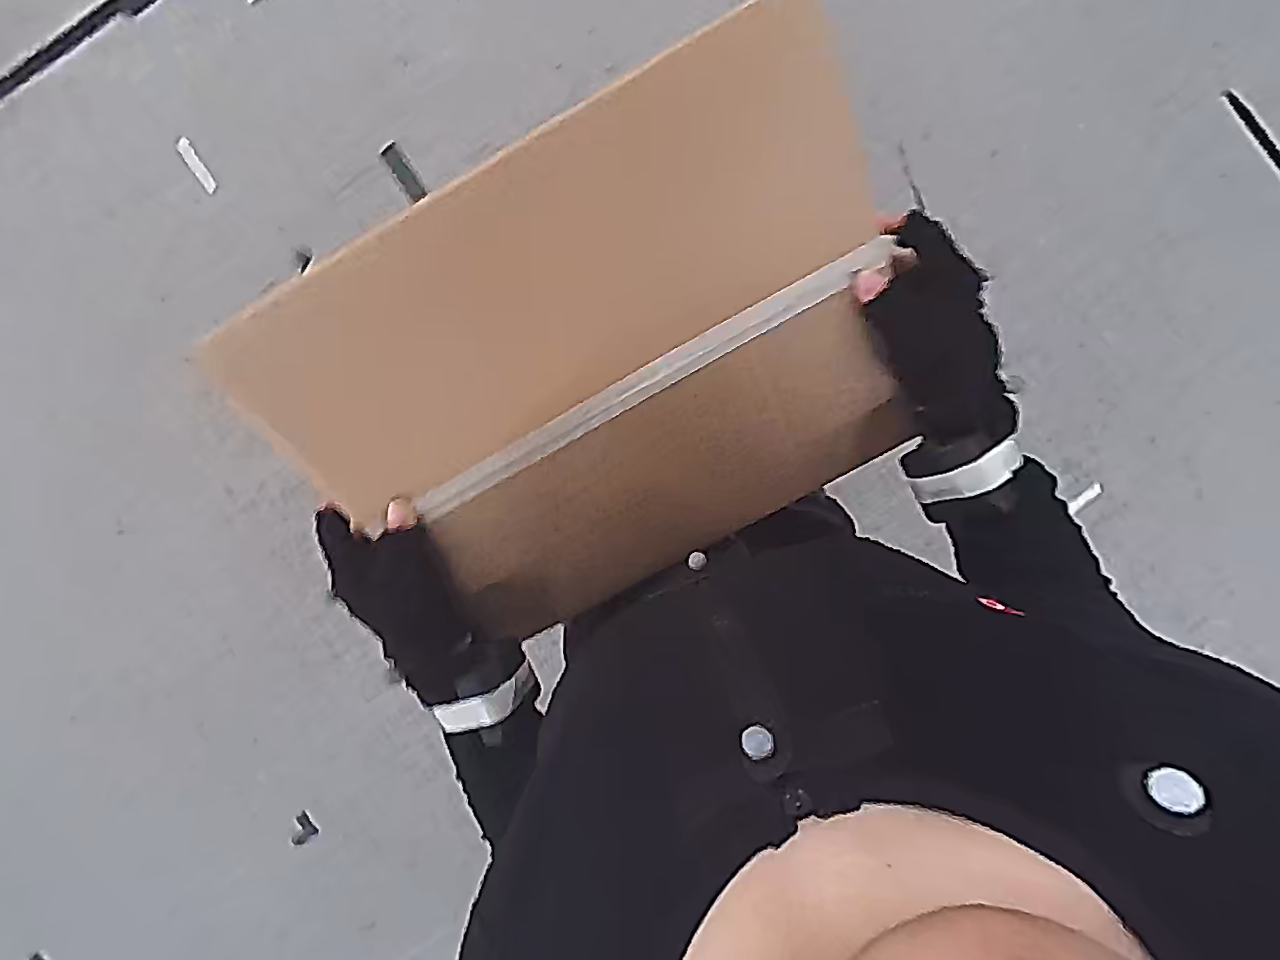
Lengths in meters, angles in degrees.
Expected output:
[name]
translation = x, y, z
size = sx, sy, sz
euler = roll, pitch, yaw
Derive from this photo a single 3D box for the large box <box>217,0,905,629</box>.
[large box]
translation = -0.048, -0.142, 0.510
size = 0.408, 0.320, 0.320
euler = -28, 123, 5
